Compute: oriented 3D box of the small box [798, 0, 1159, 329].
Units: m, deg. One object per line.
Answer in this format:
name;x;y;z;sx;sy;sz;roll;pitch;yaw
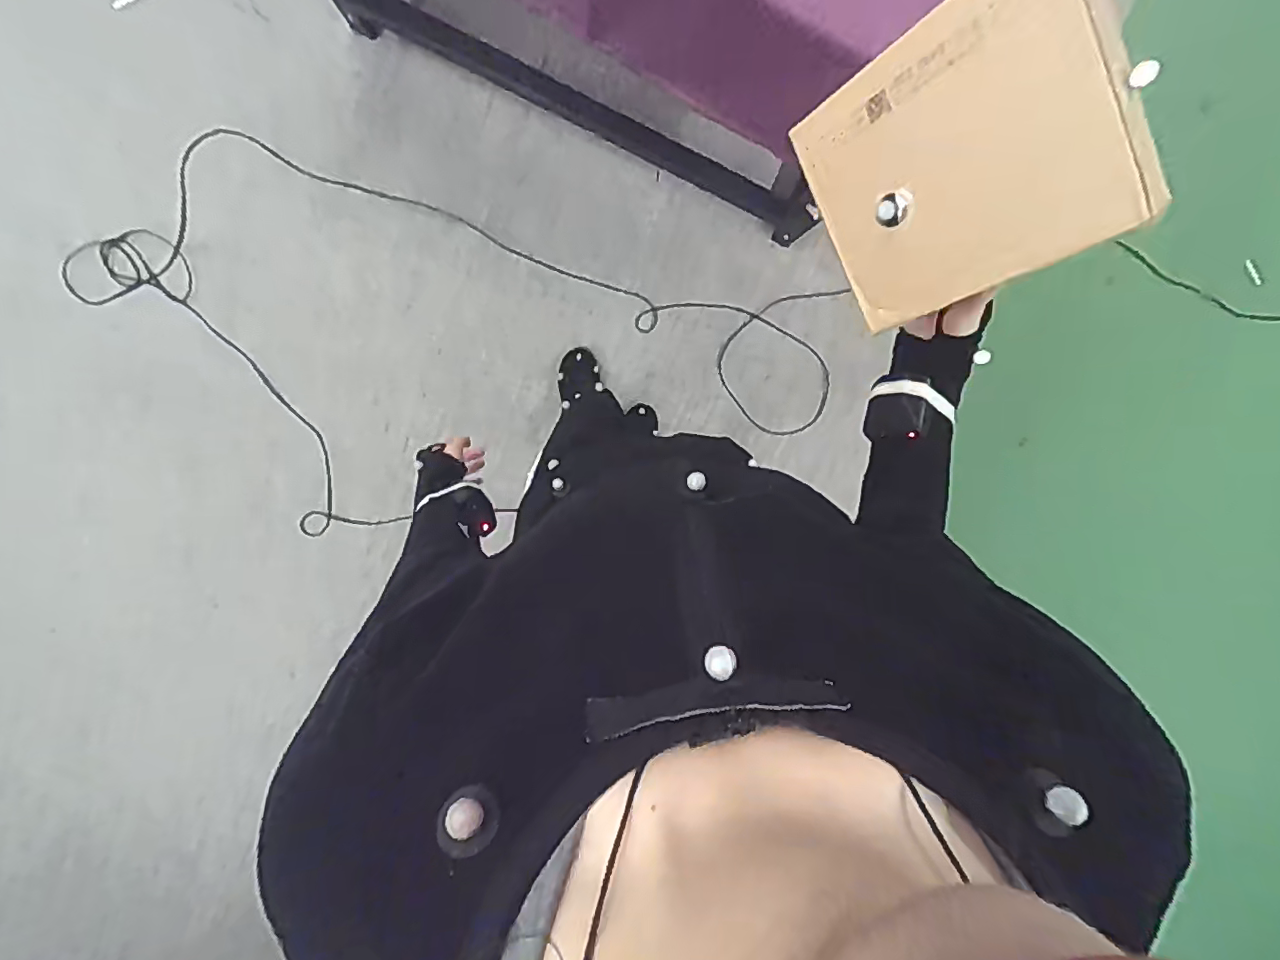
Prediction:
small box;0.249;-0.239;0.404;0.179;0.168;0.176;-30;97;-40
